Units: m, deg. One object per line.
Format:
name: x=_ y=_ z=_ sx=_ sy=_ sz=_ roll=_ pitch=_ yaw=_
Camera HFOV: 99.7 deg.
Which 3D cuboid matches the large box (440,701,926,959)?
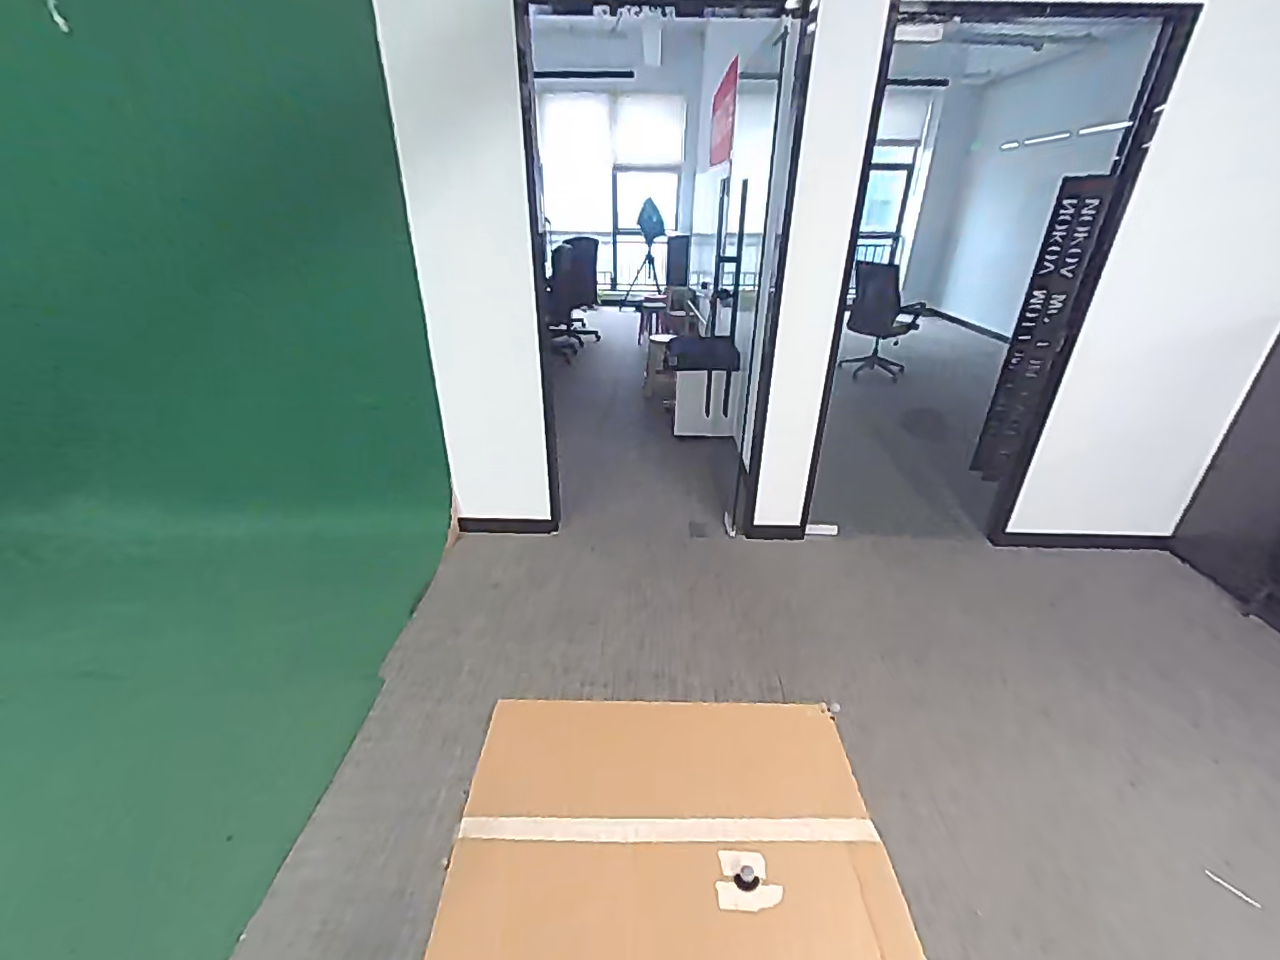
large box: x=0.028 y=0.476 z=0.597 sx=0.408 sy=0.320 sz=0.320 roll=2 pitch=27 yaw=-1
